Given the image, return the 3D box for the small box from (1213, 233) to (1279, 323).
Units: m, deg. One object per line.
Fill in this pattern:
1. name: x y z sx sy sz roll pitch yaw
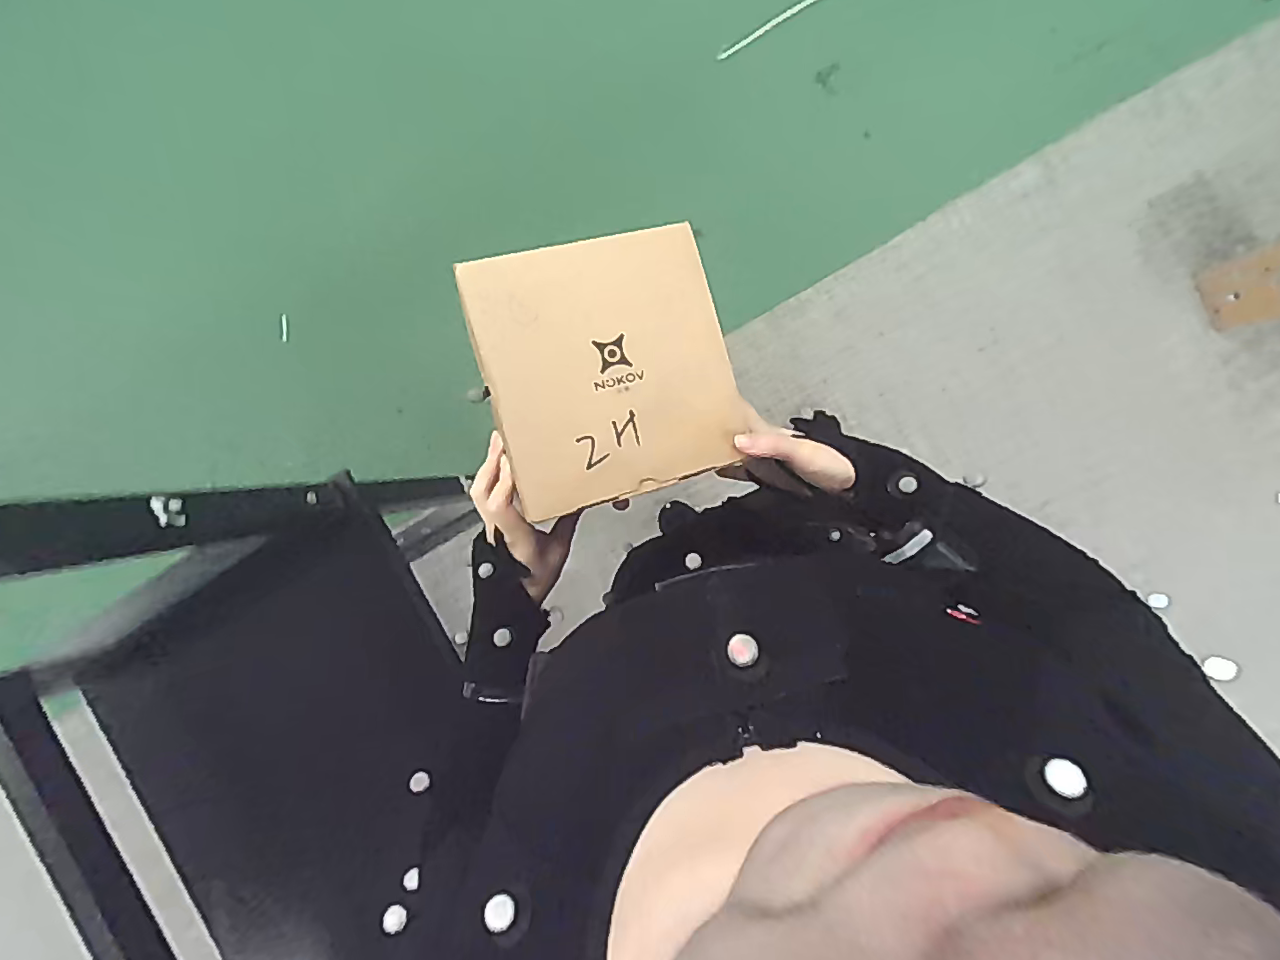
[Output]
1. small box: 1.471 -0.479 1.221 0.179 0.176 0.168 -25 89 8
